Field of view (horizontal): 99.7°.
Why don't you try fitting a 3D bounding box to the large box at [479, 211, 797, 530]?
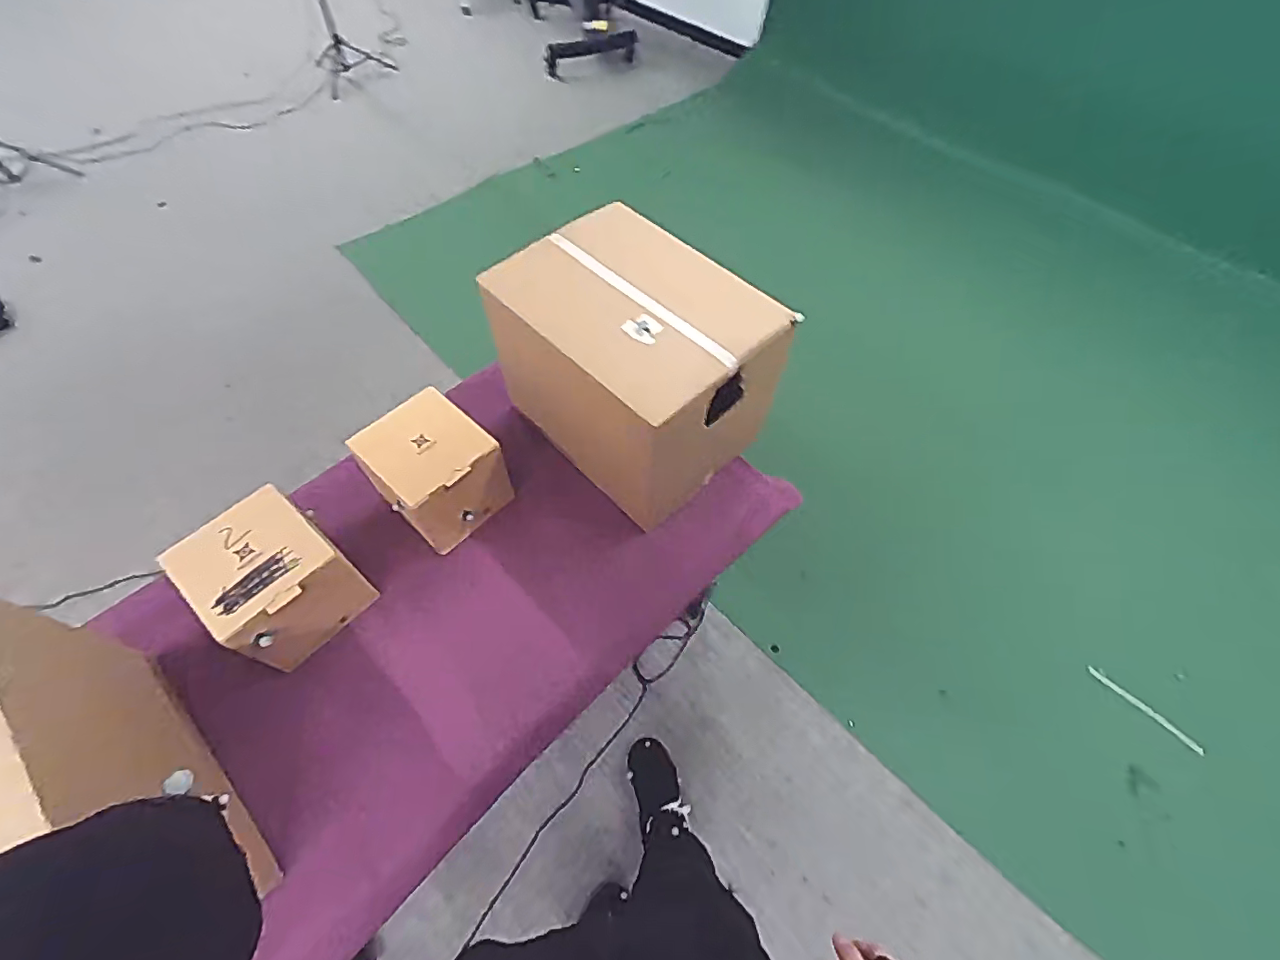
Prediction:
[{"bbox_3d":[-0.013,-0.192,0.954,0.408,0.320,0.320,41,66,20],"label":"large box"}]
